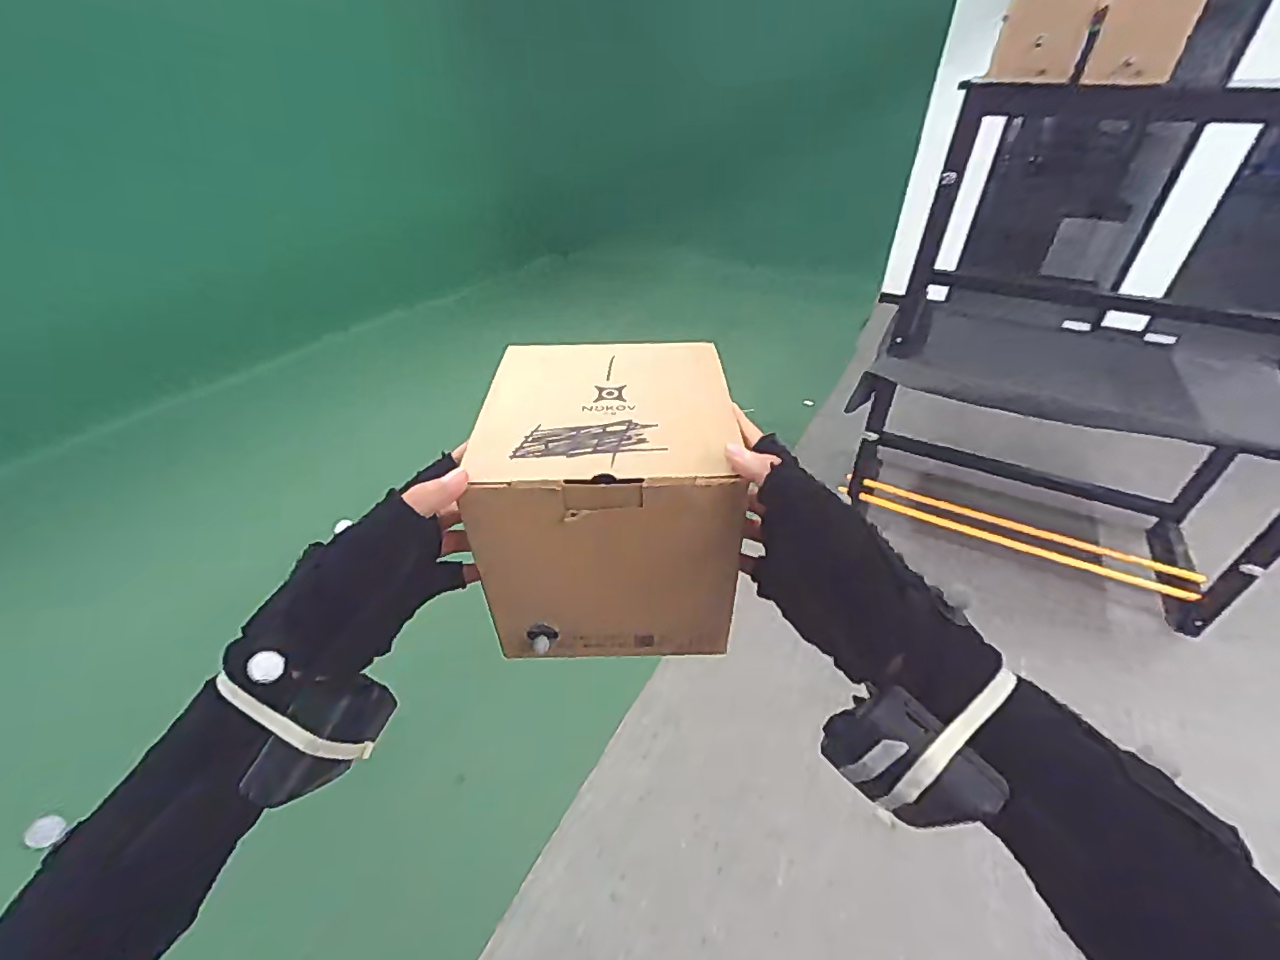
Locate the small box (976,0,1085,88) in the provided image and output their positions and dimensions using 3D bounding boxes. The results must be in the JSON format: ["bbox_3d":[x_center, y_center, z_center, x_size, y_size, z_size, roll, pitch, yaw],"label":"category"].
[{"bbox_3d":[0.967,-1.091,1.356,0.168,0.176,0.179,15,40,17],"label":"small box"}]

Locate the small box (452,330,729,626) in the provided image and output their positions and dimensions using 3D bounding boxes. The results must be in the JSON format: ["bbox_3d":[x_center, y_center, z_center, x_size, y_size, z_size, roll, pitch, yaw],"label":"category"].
[{"bbox_3d":[-0.025,-0.002,0.423,0.168,0.176,0.179,-1,37,1],"label":"small box"}]
